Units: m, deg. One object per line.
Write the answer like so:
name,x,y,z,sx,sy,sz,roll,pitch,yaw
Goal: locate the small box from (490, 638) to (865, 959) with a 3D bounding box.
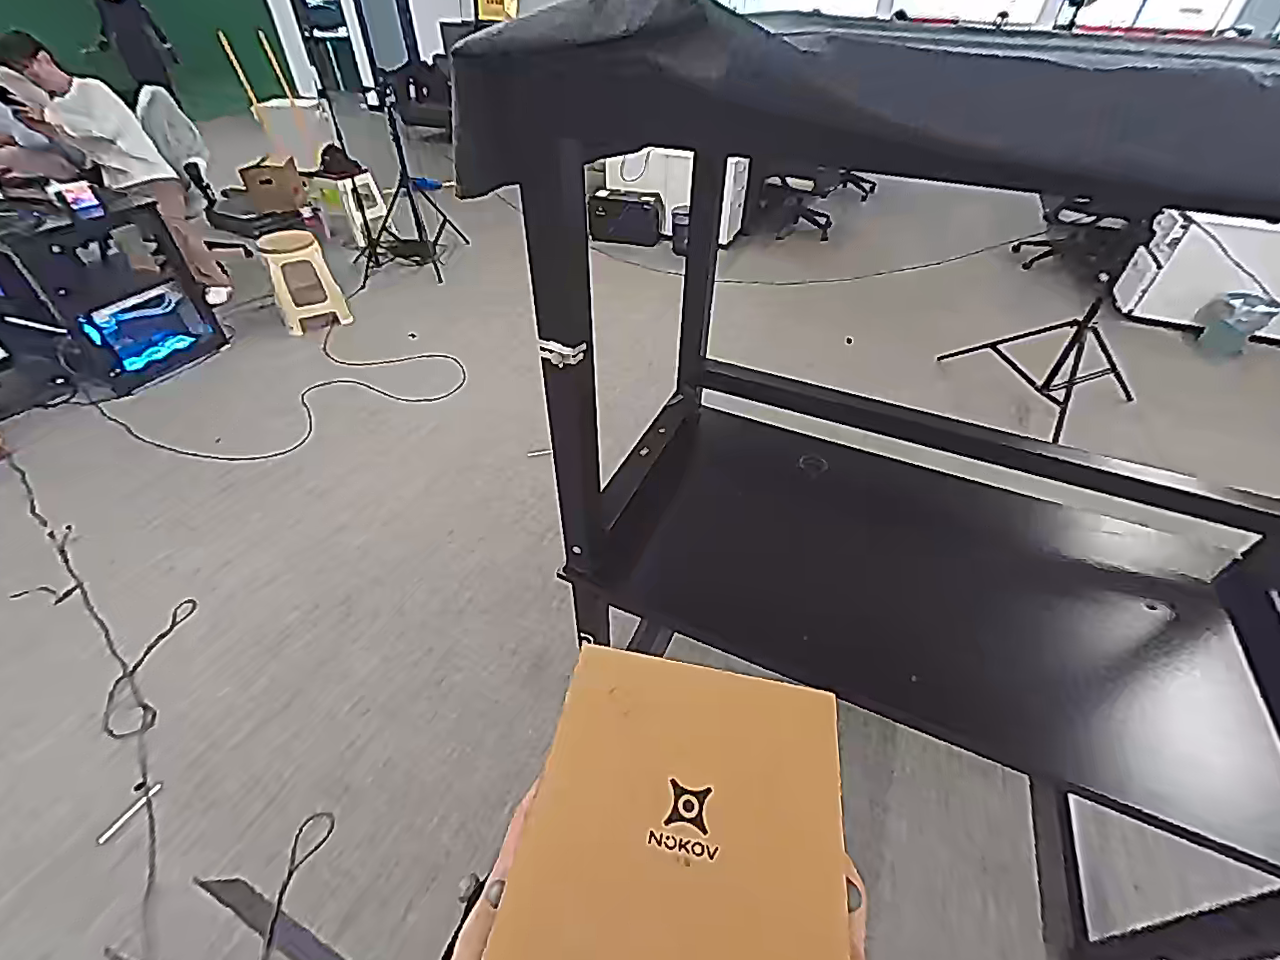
small box,0.026,0.231,0.337,0.168,0.176,0.179,8,43,7
